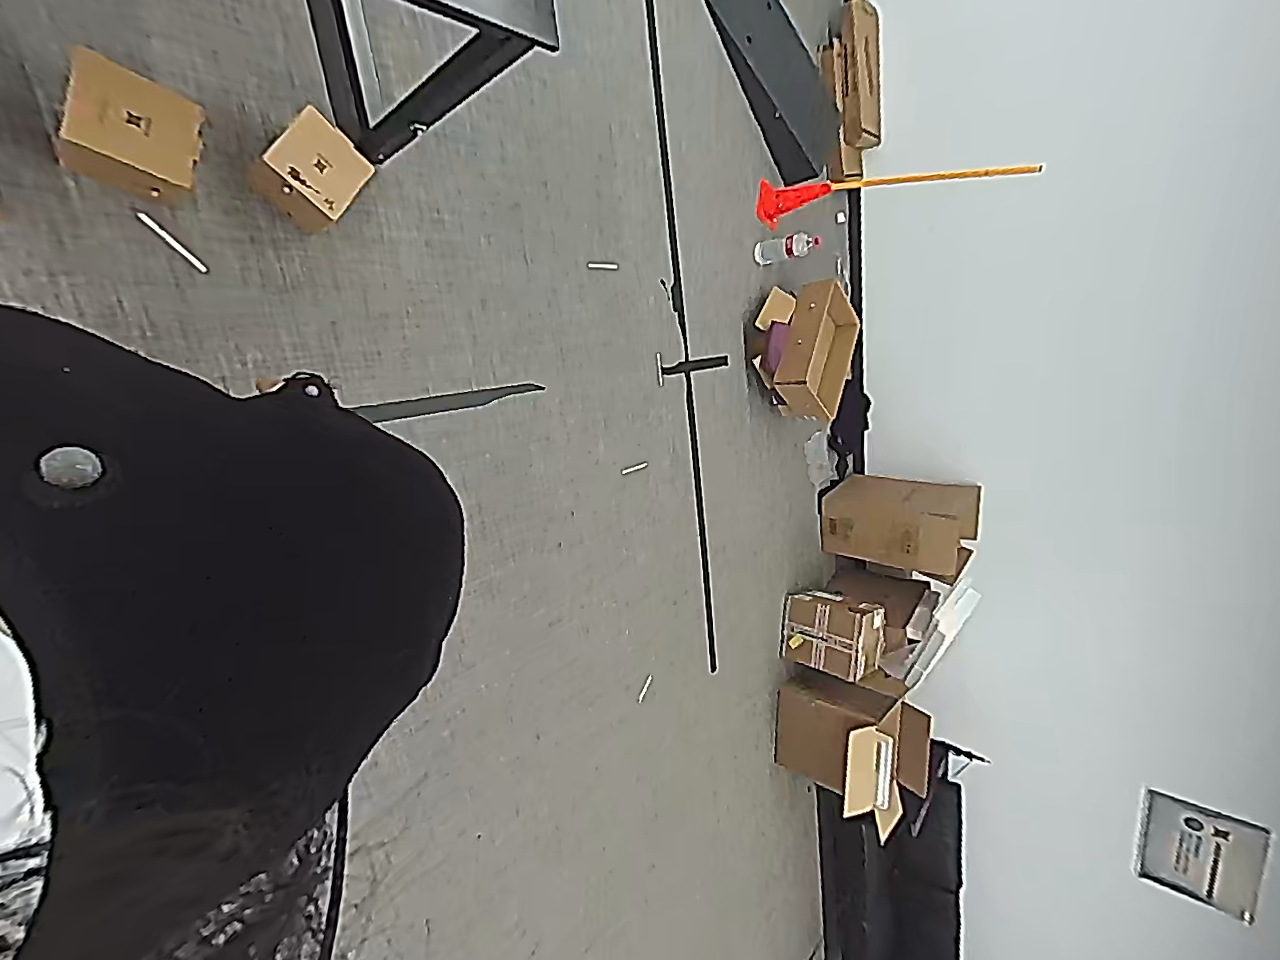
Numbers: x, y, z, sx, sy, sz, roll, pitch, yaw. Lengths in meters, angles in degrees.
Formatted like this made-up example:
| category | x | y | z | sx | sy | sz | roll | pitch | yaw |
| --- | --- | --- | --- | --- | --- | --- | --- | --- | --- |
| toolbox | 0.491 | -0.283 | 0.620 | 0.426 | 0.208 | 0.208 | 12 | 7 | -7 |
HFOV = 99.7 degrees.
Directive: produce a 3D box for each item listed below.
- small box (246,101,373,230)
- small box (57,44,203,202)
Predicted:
| category | x | y | z | sx | sy | sz | roll | pitch | yaw |
| --- | --- | --- | --- | --- | --- | --- | --- | --- | --- |
| small box | -0.762 | -0.712 | 1.242 | 0.168 | 0.176 | 0.179 | 41 | 66 | -42 |
| small box | -0.968 | -0.657 | 1.027 | 0.179 | 0.176 | 0.168 | 9 | 87 | -47 |
